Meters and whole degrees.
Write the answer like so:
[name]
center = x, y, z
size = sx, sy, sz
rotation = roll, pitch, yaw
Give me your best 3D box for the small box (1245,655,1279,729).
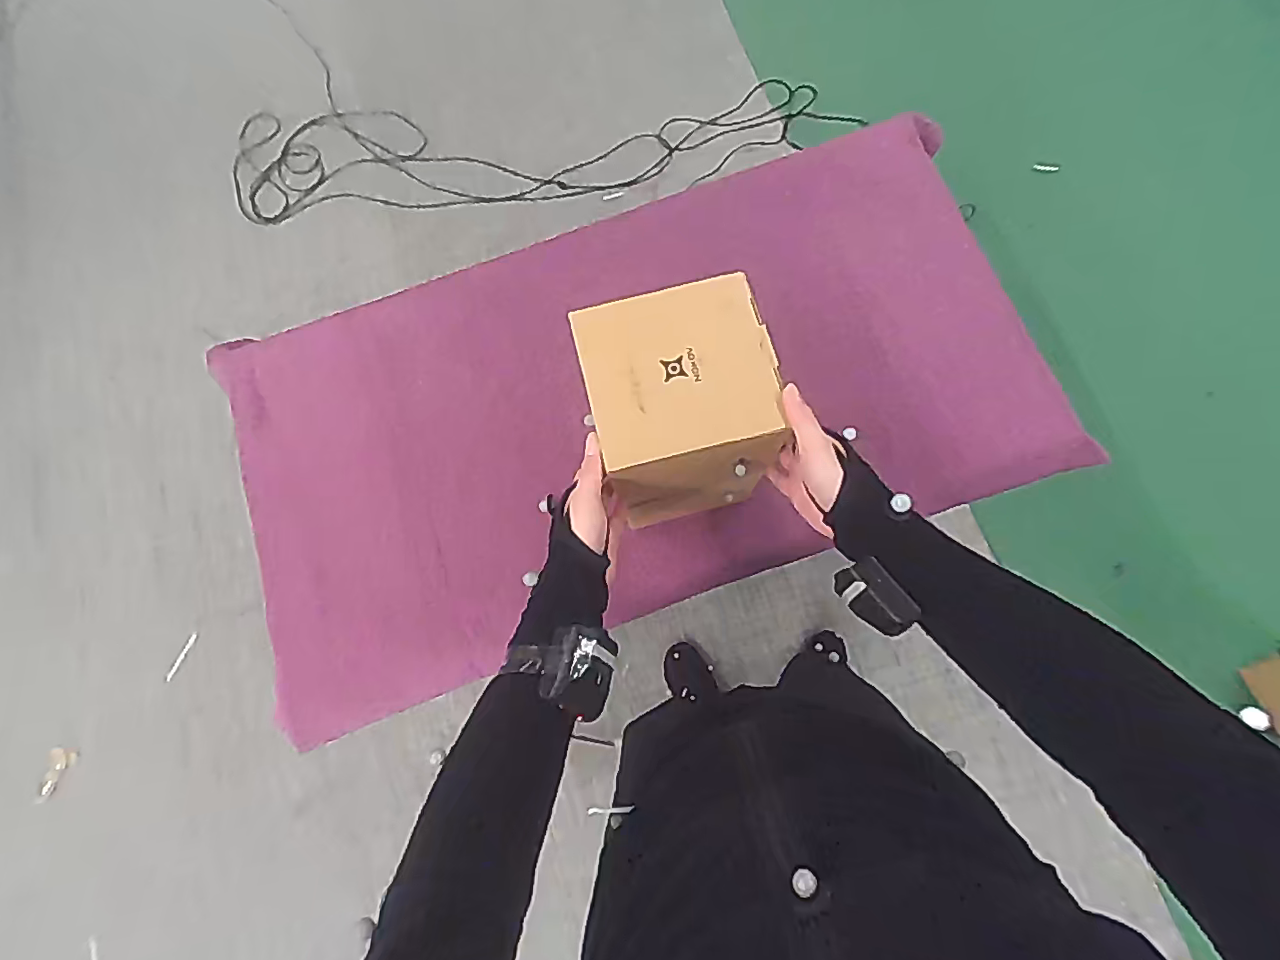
[small box]
center = 1.596, 0.506, 1.247
size = 0.168, 0.176, 0.179
rotation = -22, 77, -2
